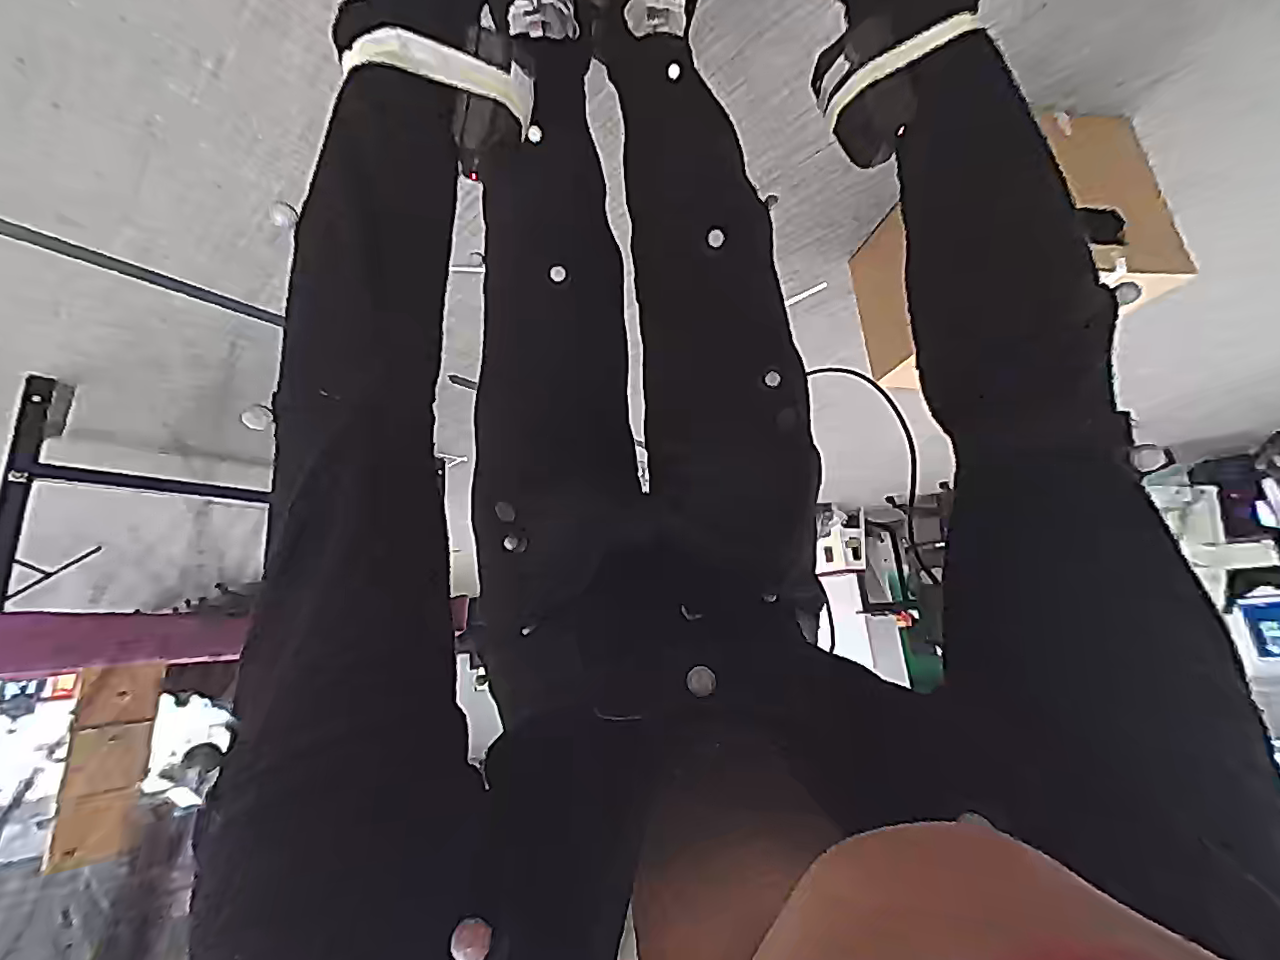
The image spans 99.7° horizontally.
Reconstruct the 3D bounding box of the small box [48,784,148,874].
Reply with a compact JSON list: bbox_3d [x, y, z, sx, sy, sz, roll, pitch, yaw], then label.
[{"bbox_3d":[-1.471,0.927,1.472,0.168,0.176,0.179,-19,160,41],"label":"small box"}]

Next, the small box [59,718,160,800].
[{"bbox_3d":[-1.479,0.769,1.509,0.168,0.176,0.179,-19,159,42],"label":"small box"}]
